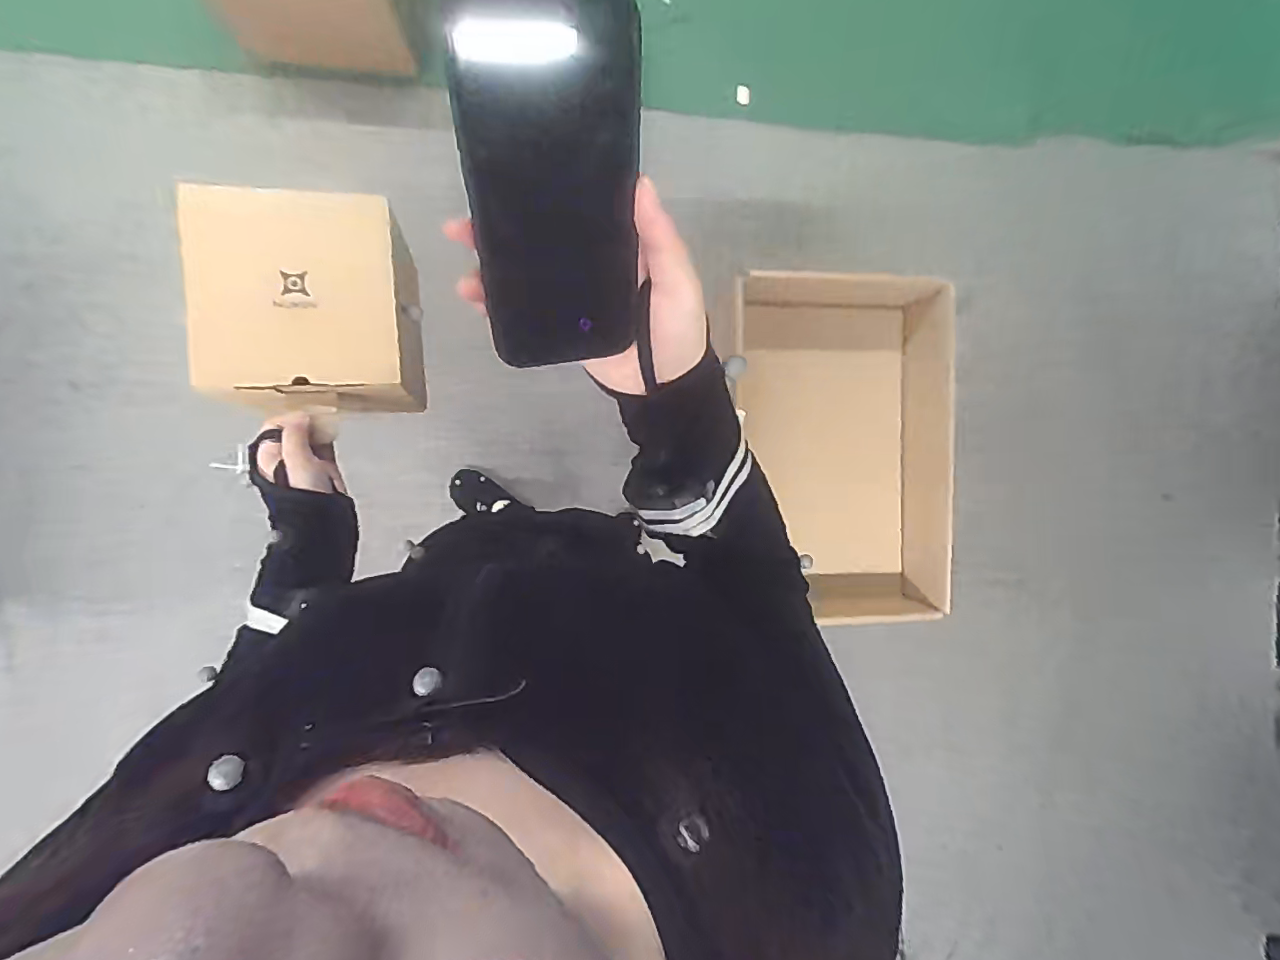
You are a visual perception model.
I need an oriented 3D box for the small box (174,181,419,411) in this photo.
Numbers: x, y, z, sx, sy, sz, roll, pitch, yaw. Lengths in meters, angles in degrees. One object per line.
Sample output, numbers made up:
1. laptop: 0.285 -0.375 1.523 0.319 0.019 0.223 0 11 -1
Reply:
1. small box: -0.328 -0.169 0.551 0.168 0.176 0.179 -4 92 -14
